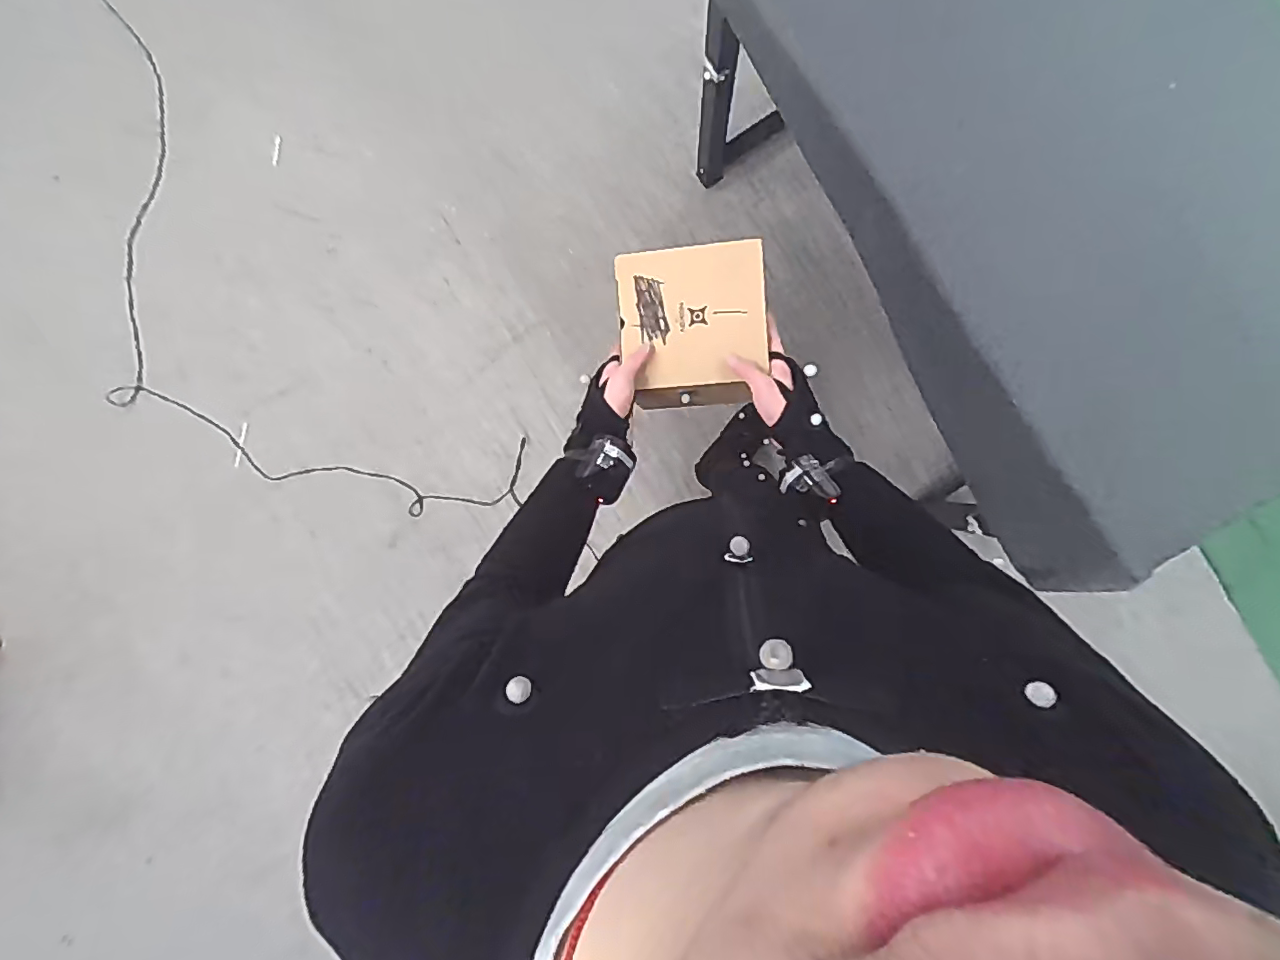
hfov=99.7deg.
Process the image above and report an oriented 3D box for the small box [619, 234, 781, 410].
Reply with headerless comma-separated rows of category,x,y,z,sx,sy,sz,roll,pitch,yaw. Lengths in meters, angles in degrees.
small box,0.075,-0.187,0.691,0.179,0.176,0.168,-4,89,6
